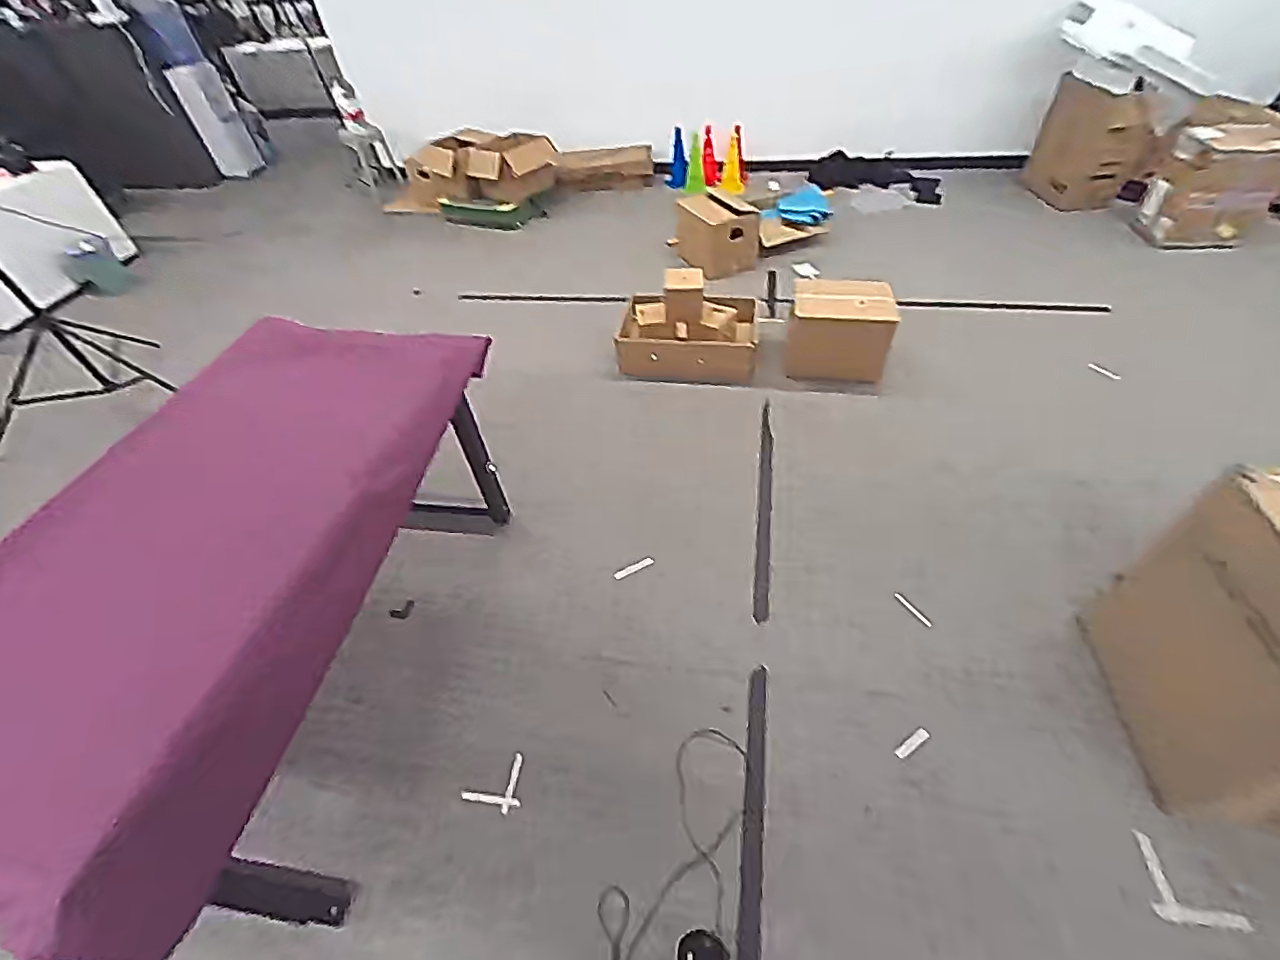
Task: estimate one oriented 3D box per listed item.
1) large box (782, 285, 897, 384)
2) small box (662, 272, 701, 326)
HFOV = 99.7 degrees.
[{"bbox_3d":[0.850,-0.638,2.371,0.408,0.320,0.320,5,48,8],"label":"large box"},{"bbox_3d":[0.183,-0.790,2.370,0.168,0.176,0.179,0,46,3],"label":"small box"}]
